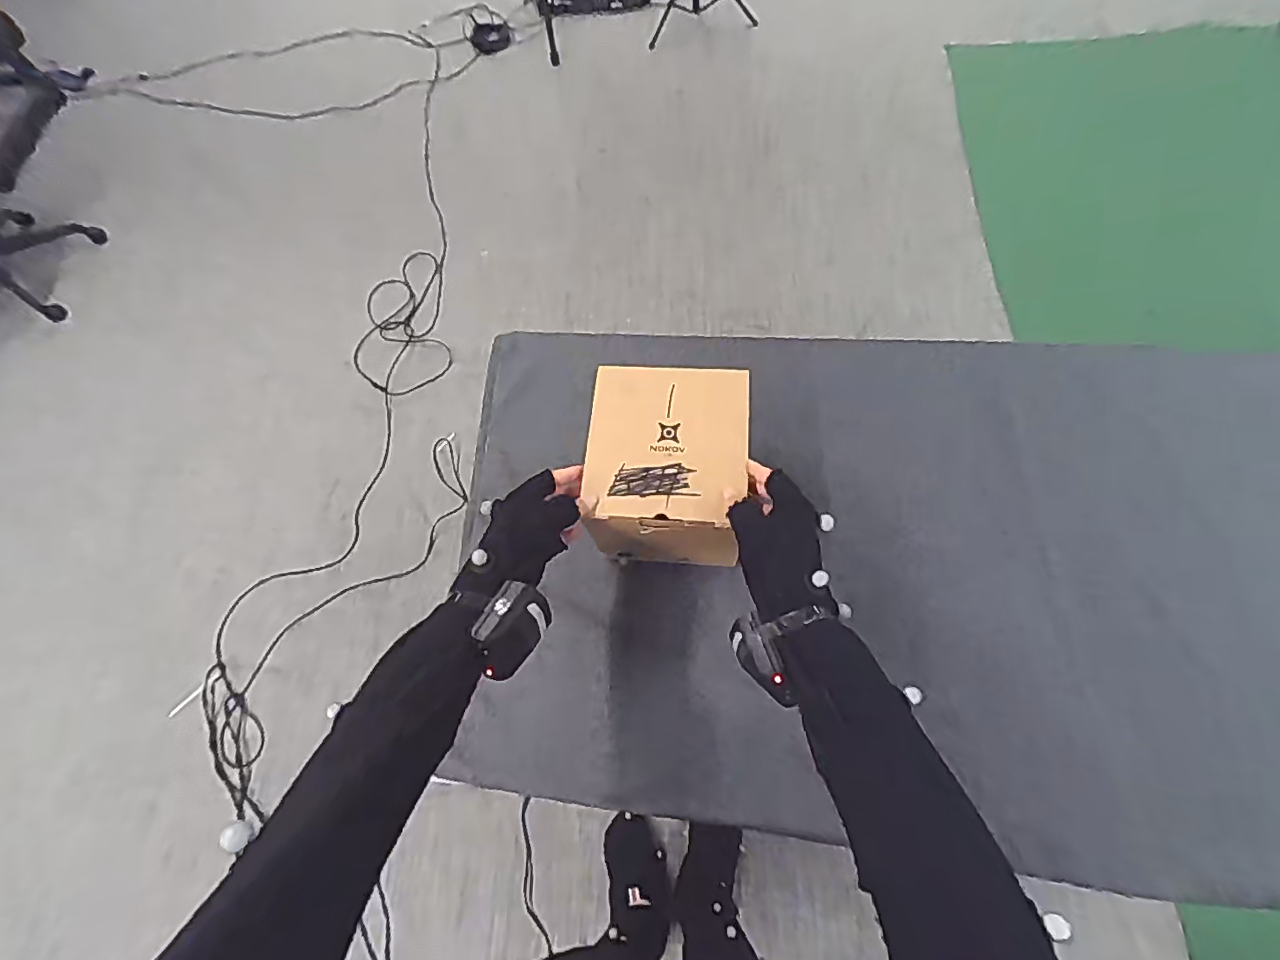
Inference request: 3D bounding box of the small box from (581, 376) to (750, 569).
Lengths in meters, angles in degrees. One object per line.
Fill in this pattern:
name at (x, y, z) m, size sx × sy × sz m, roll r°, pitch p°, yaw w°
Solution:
small box at (0.037, -0.001, 0.631) m, size 0.168 × 0.176 × 0.179 m, roll 3°, pitch 67°, yaw 6°
